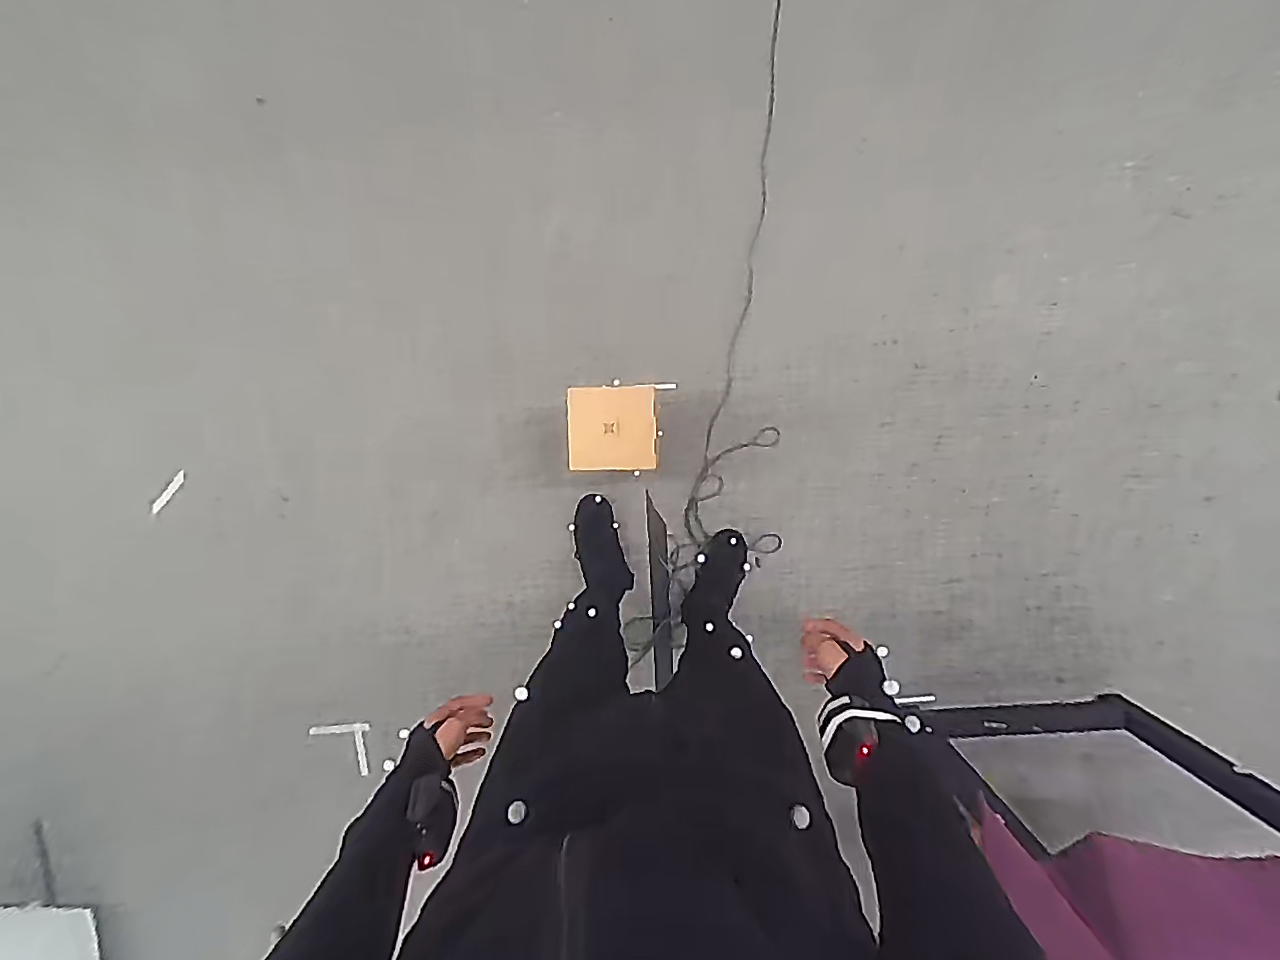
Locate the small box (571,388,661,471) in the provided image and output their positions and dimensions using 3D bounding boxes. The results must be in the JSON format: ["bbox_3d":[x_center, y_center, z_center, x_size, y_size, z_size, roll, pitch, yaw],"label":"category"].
[{"bbox_3d":[-0.045,-0.105,1.150,0.179,0.176,0.168,-1,96,3],"label":"small box"}]
